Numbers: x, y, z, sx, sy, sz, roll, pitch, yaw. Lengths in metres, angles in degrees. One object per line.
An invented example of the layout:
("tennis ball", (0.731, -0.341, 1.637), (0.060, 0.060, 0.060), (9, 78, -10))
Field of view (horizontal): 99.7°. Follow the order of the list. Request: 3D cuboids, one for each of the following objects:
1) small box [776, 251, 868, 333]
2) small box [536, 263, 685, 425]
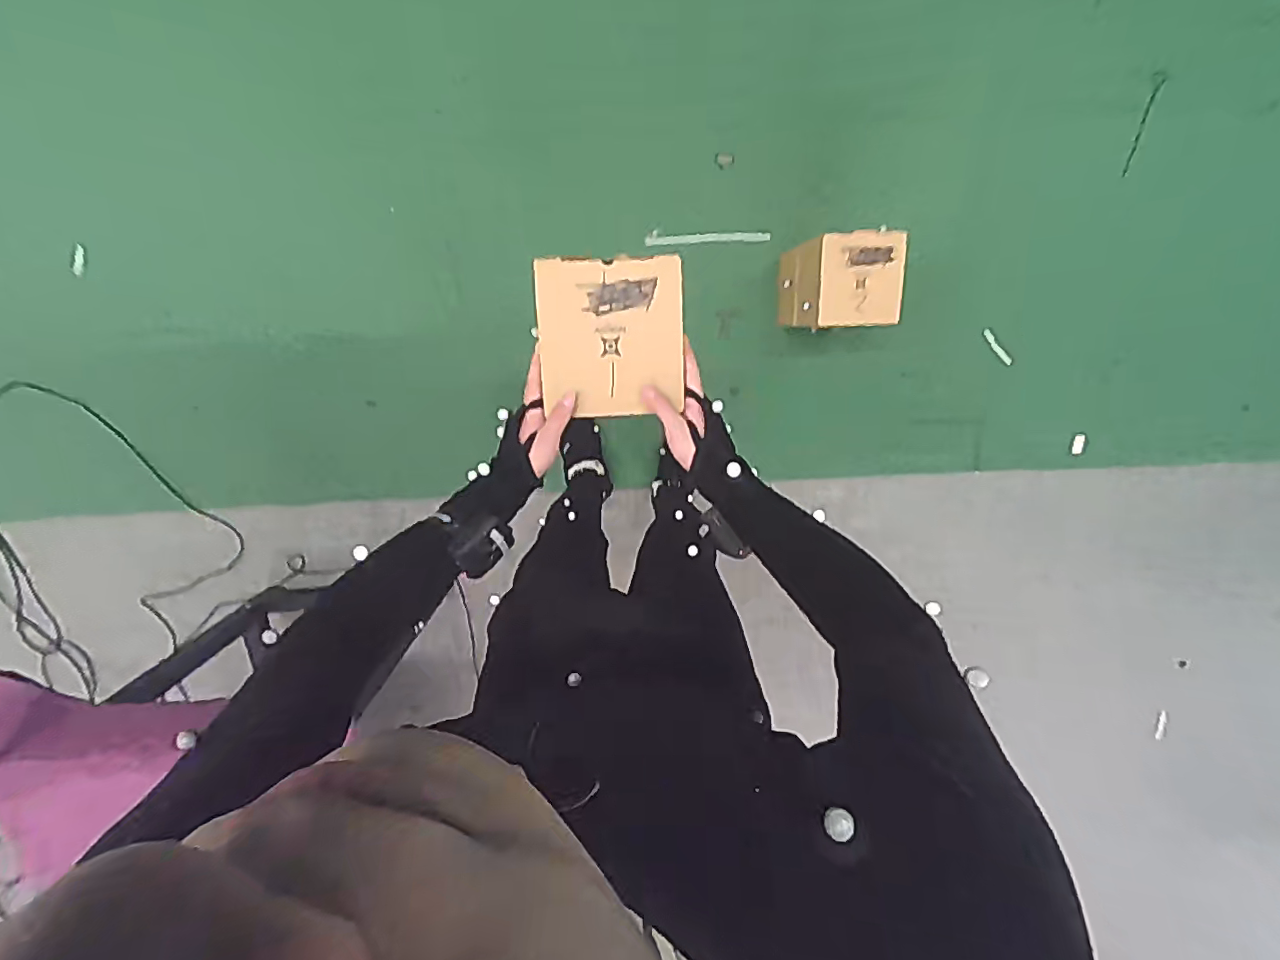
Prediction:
("small box", (0.434, -0.451, 1.316), (0.168, 0.176, 0.179), (-1, 106, 1))
("small box", (-0.036, -0.165, 0.684), (0.168, 0.176, 0.179), (-3, 101, -2))
